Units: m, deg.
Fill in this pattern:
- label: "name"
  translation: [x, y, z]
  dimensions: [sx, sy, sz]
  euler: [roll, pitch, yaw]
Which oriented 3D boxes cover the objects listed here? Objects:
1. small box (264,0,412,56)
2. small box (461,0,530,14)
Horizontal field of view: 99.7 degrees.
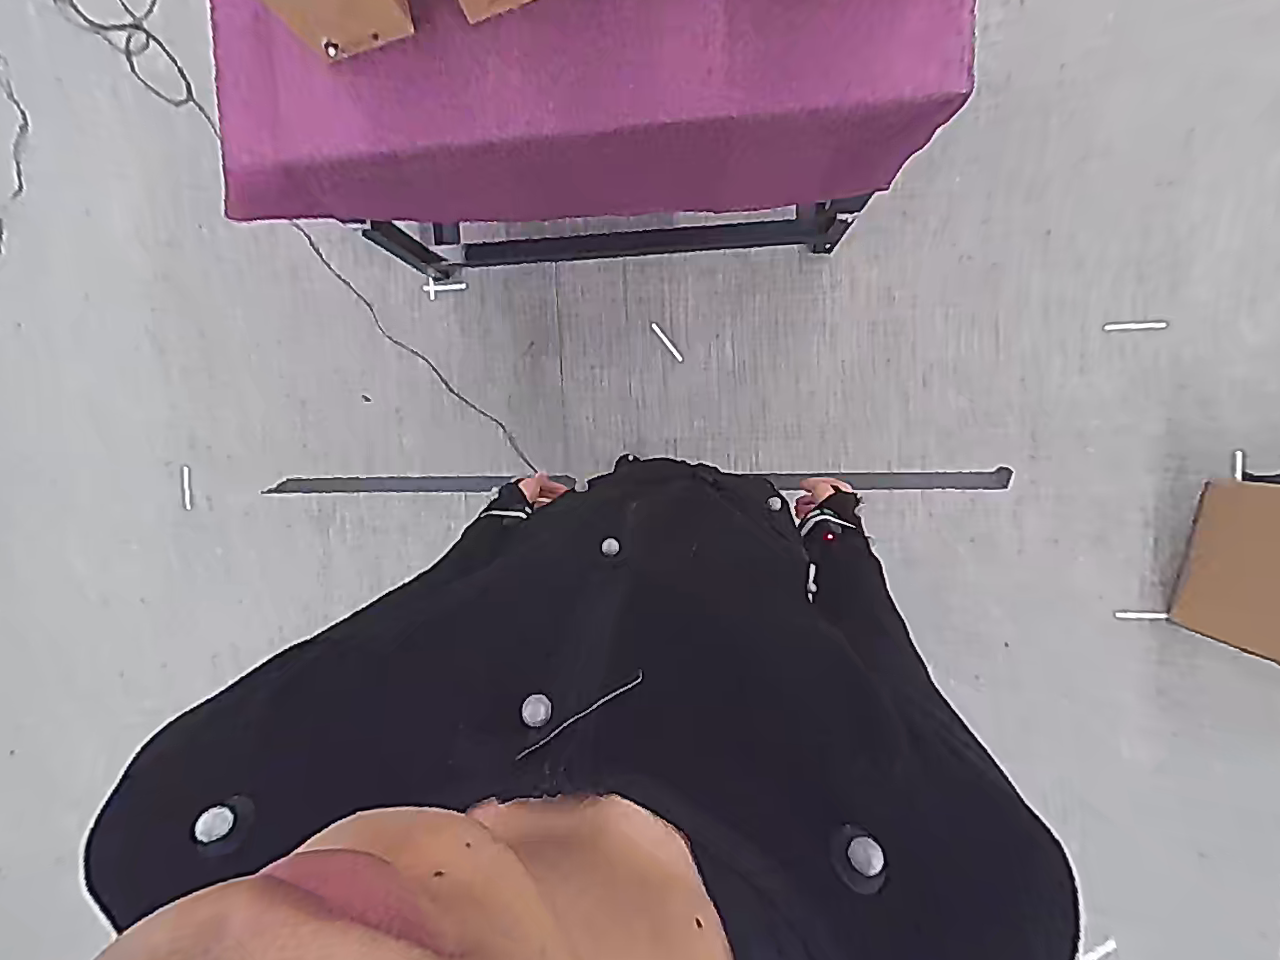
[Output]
- label: "small box"
  translation: [-0.468, -0.783, 0.806]
  dimensions: [0.168, 0.176, 0.179]
  euler: [-14, 91, 6]
- label: "small box"
  translation: [-0.223, -0.831, 0.781]
  dimensions: [0.168, 0.176, 0.179]
  euler: [-15, 92, 6]
